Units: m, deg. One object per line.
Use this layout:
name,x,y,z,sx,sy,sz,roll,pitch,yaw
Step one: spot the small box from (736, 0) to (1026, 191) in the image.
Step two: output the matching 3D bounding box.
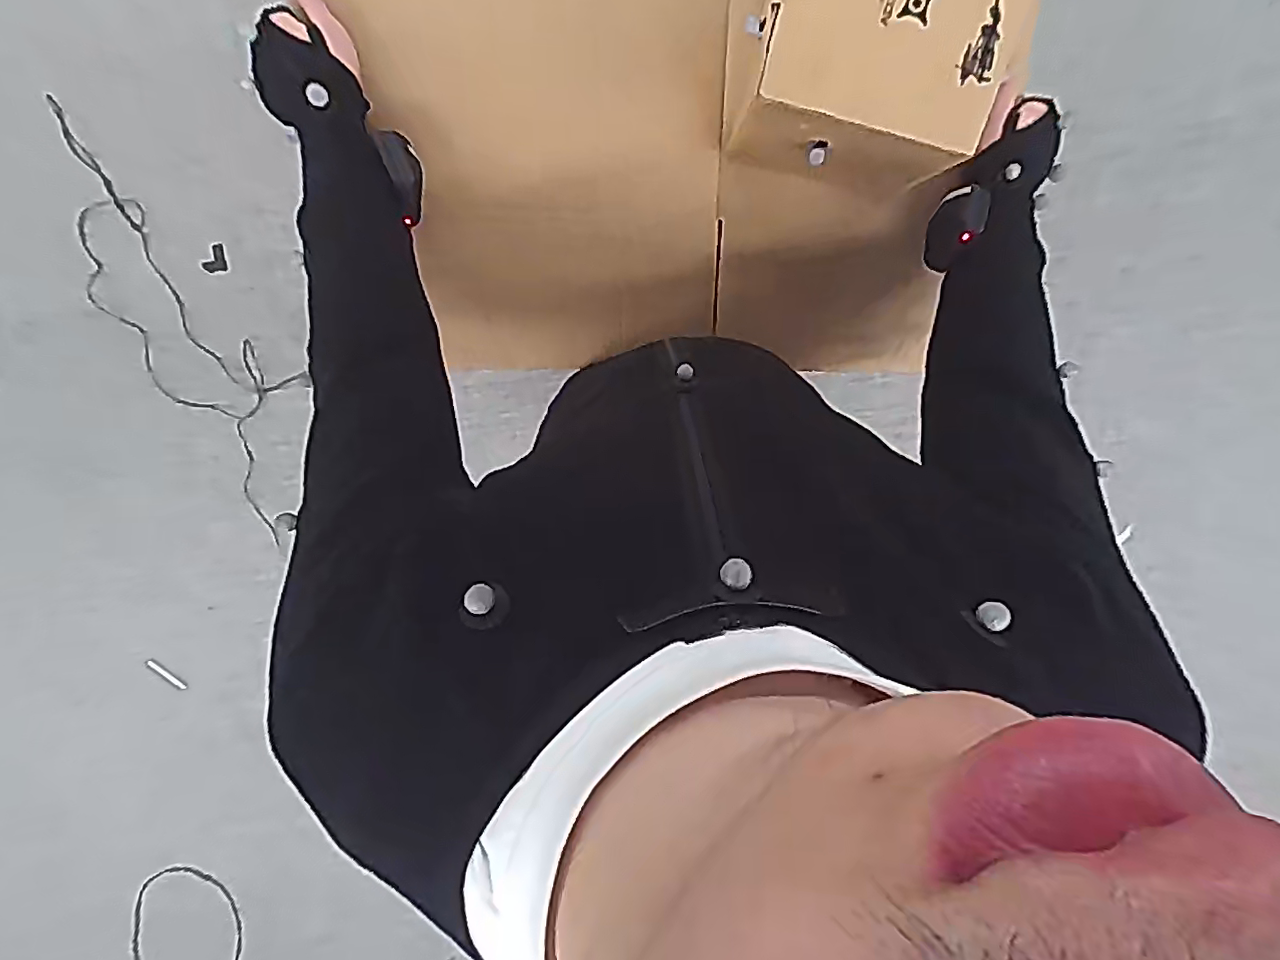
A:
small box,0.193,-0.371,0.467,0.179,0.176,0.168,14,107,-2
